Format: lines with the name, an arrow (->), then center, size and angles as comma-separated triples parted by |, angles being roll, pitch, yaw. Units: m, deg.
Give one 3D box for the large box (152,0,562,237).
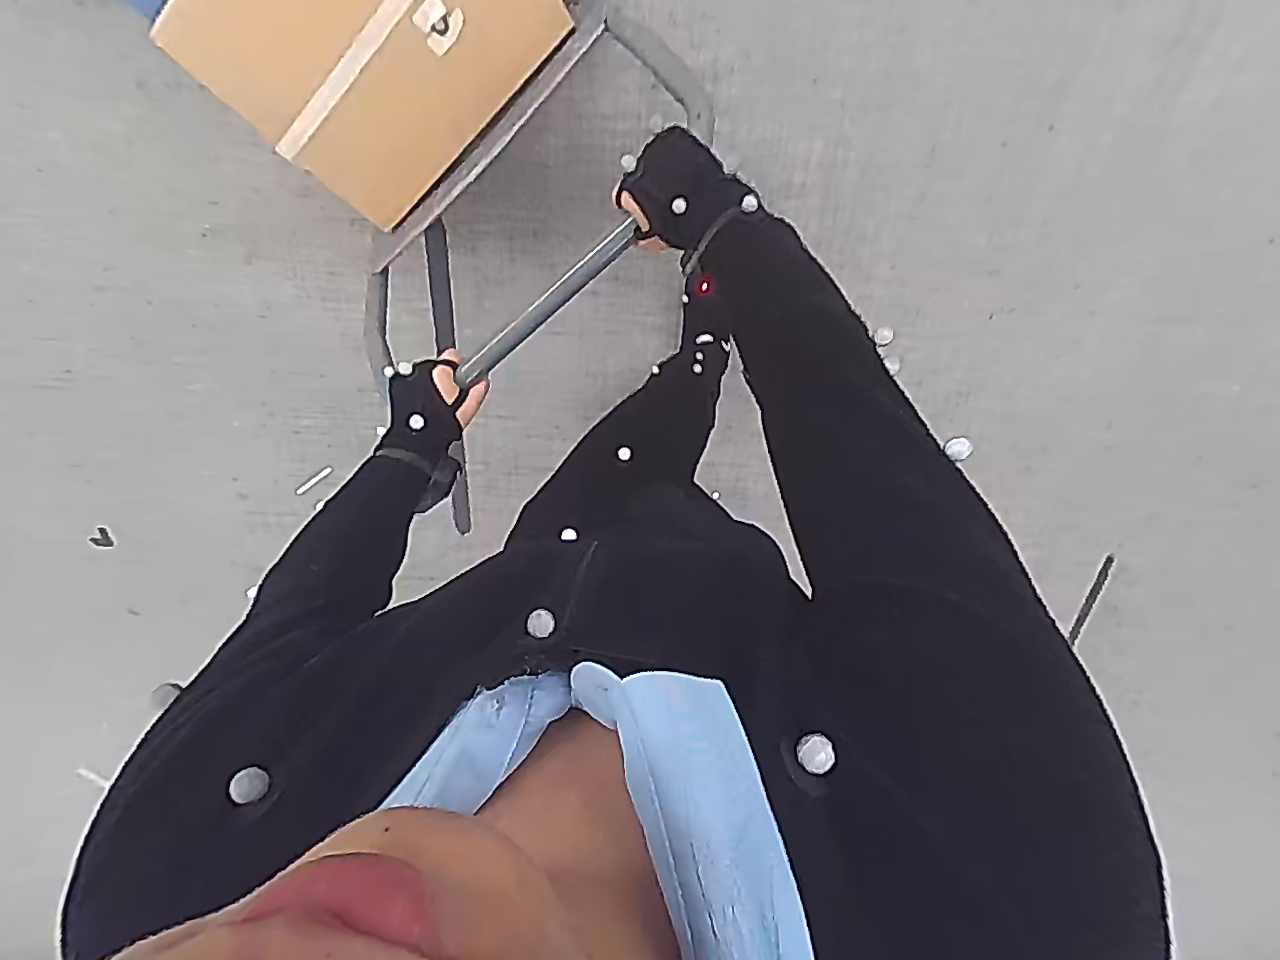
large box -> -0.376, -0.653, 0.776 | 0.408, 0.320, 0.320 | -38, 135, 18
